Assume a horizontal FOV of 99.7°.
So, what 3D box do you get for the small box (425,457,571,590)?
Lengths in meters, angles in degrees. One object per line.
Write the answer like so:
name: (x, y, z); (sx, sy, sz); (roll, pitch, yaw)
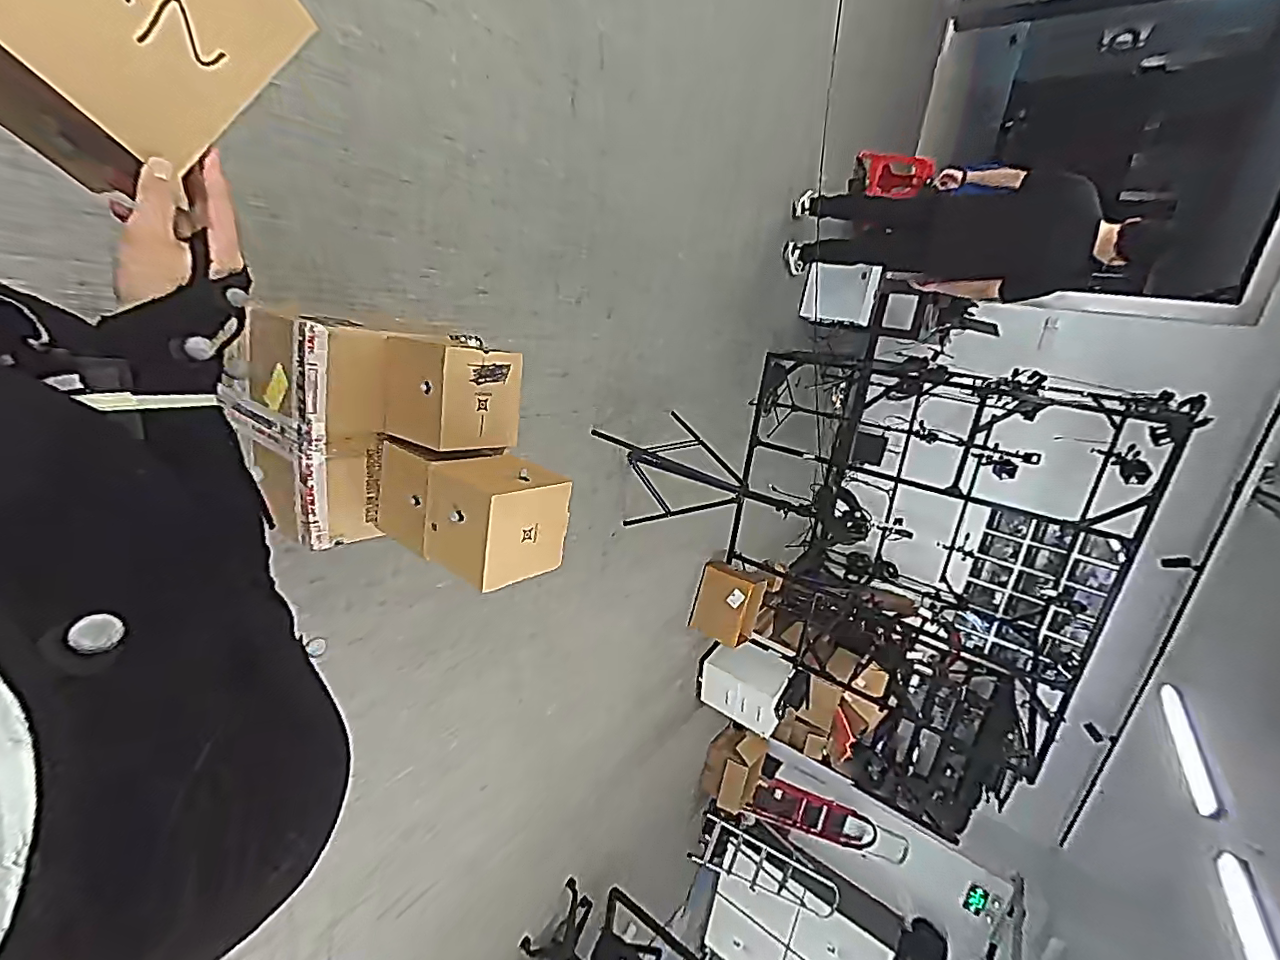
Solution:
small box: (-0.246, 0.064, 0.929); (0.179, 0.176, 0.168); (-12, 117, -53)
